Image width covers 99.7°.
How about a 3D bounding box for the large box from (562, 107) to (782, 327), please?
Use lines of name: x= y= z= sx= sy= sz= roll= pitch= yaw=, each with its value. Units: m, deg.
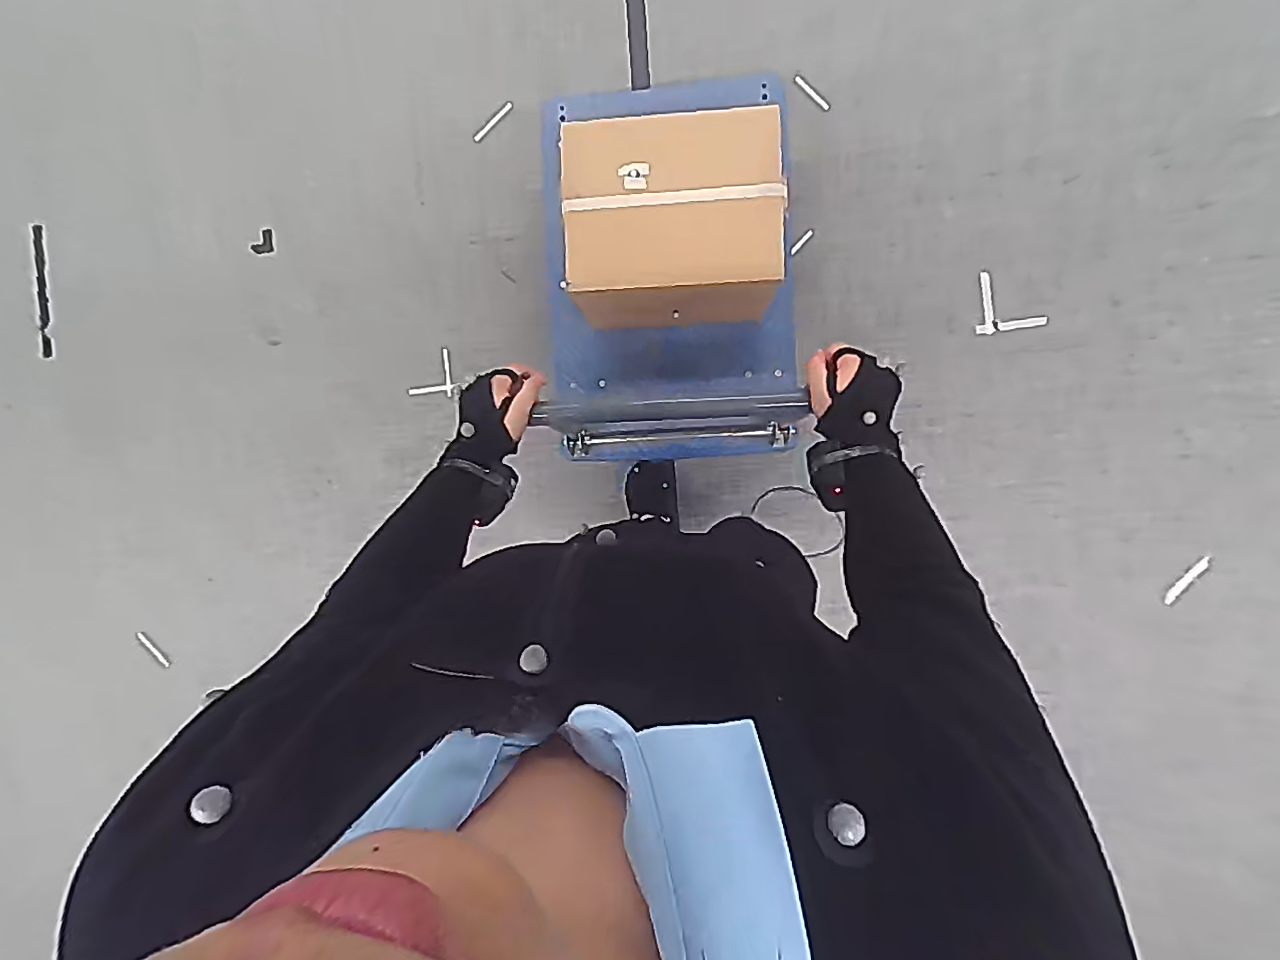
large box: x=0.072 y=-0.525 z=1.156 sx=0.408 sy=0.320 sz=0.320 roll=-2 pitch=91 yaw=6
